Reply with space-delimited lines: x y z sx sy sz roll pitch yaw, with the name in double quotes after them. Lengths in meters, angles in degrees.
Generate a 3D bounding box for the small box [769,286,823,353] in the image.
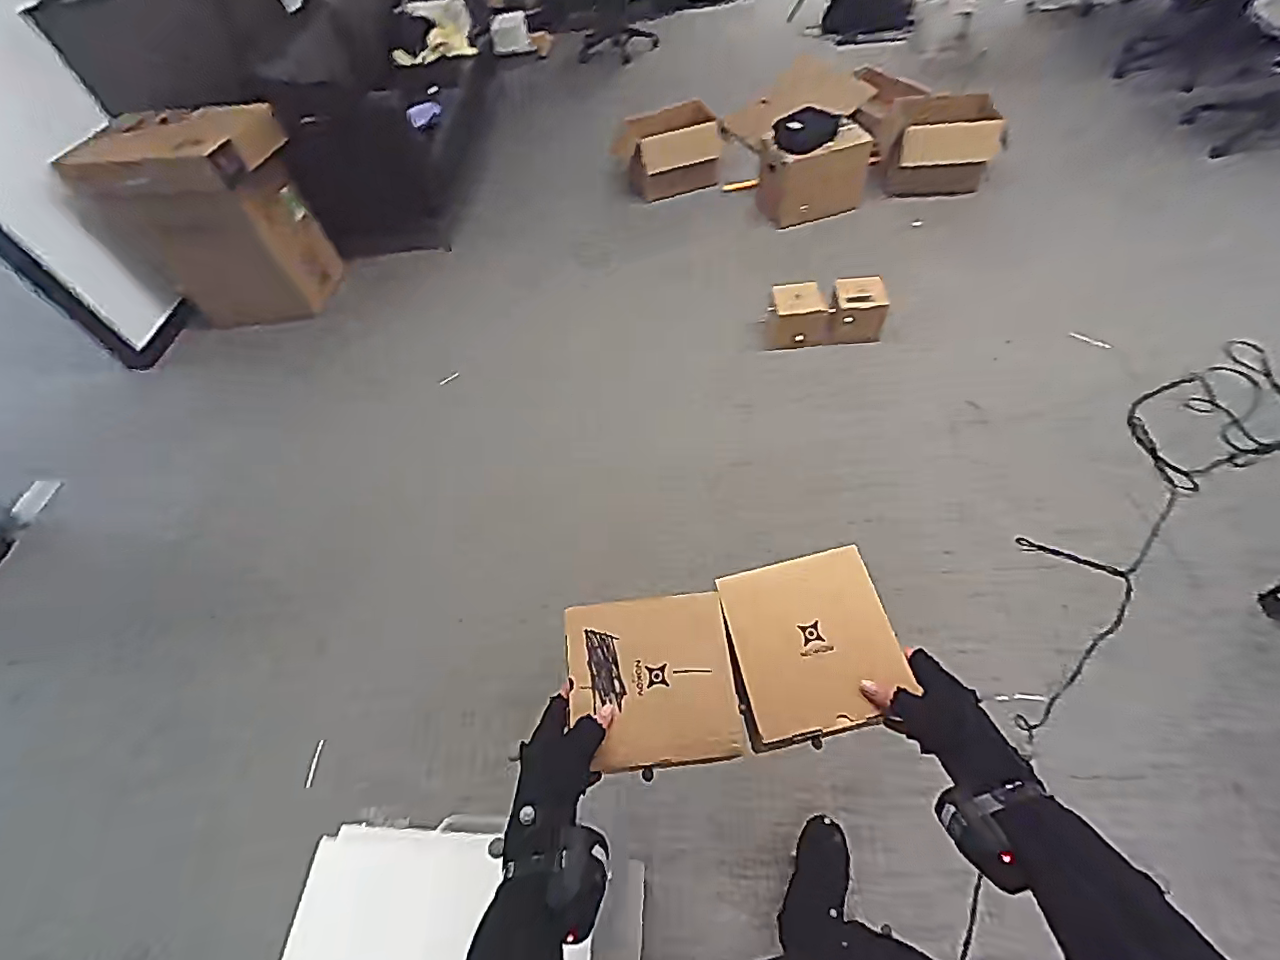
0.593 -0.616 2.079 0.168 0.176 0.179 -6 53 5 "small box"
